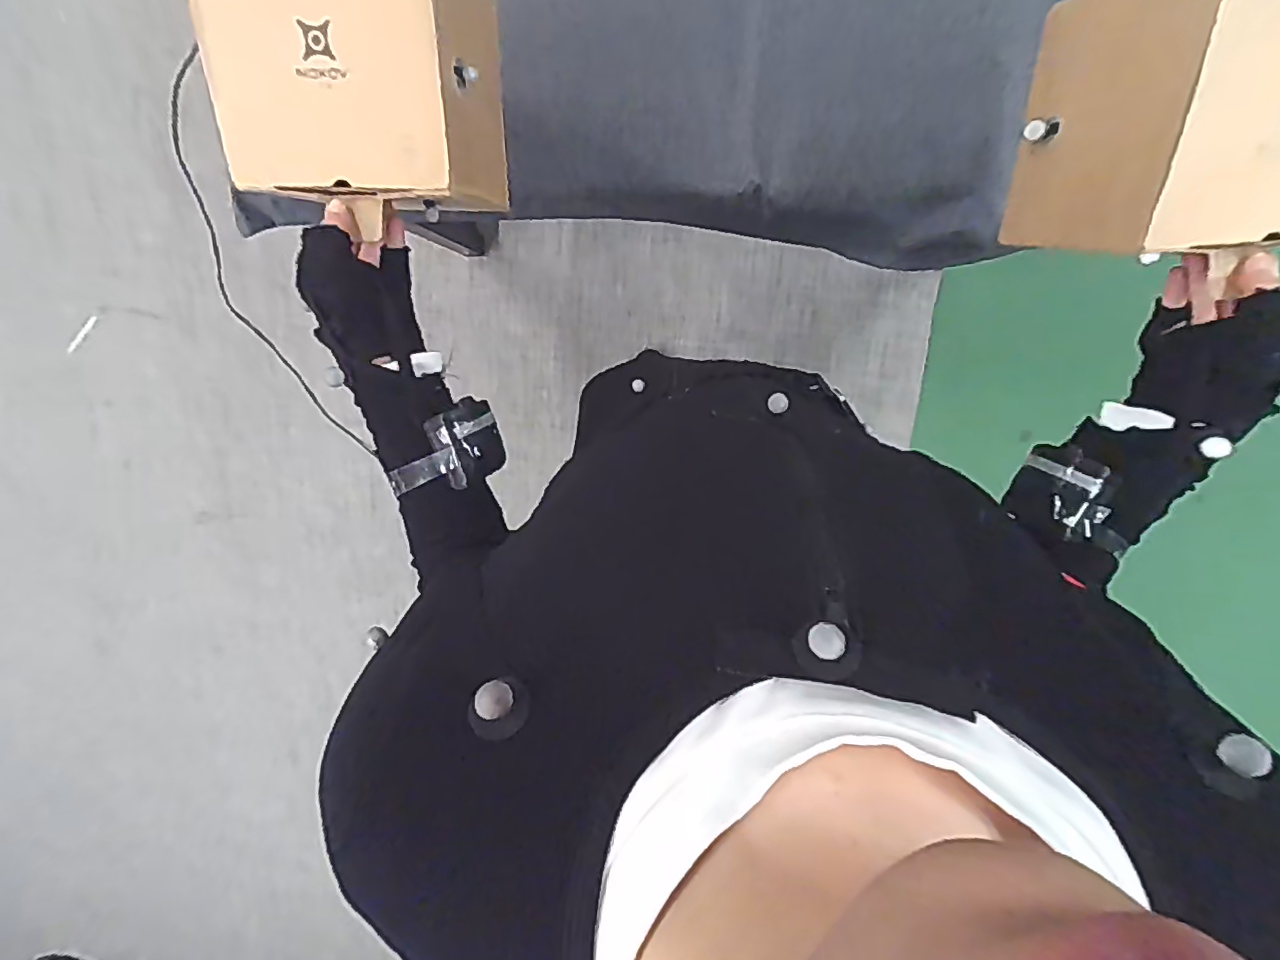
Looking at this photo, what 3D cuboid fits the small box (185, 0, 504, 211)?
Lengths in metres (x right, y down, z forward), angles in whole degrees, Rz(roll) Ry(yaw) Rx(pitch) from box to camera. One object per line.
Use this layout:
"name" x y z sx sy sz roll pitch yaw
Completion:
"small box" -0.215 -0.320 0.437 0.168 0.176 0.179 1 112 1

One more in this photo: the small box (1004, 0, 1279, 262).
"small box" 0.405 -0.262 0.391 0.168 0.176 0.179 -2 116 2
